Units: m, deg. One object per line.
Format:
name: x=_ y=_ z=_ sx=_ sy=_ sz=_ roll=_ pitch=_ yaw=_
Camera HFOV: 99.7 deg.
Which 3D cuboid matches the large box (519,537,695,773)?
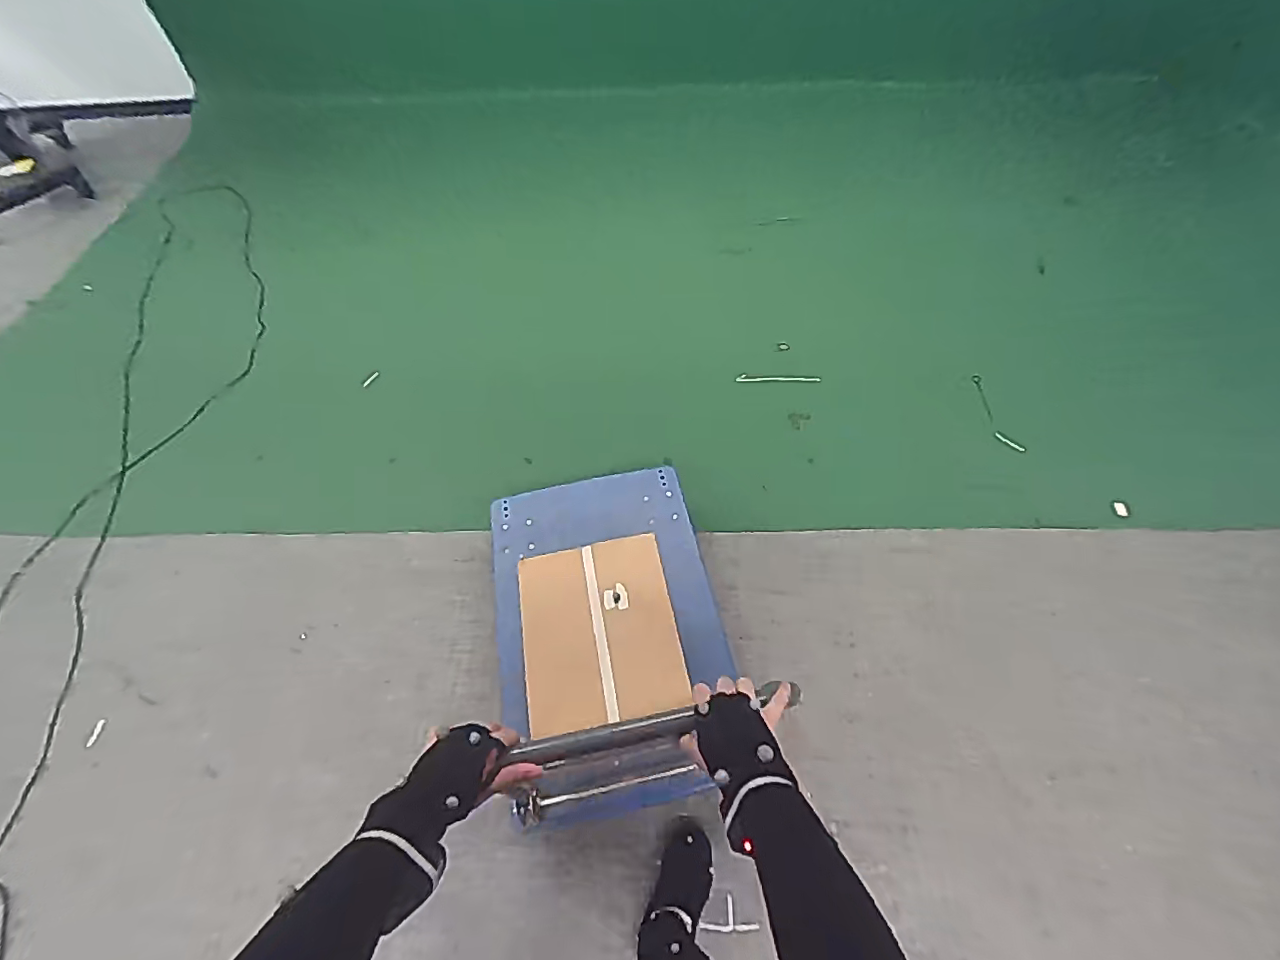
large box: x=-0.074 y=0.403 z=1.240 sx=0.320 sy=0.320 sz=0.408 roll=-11 pitch=56 yaw=-4
